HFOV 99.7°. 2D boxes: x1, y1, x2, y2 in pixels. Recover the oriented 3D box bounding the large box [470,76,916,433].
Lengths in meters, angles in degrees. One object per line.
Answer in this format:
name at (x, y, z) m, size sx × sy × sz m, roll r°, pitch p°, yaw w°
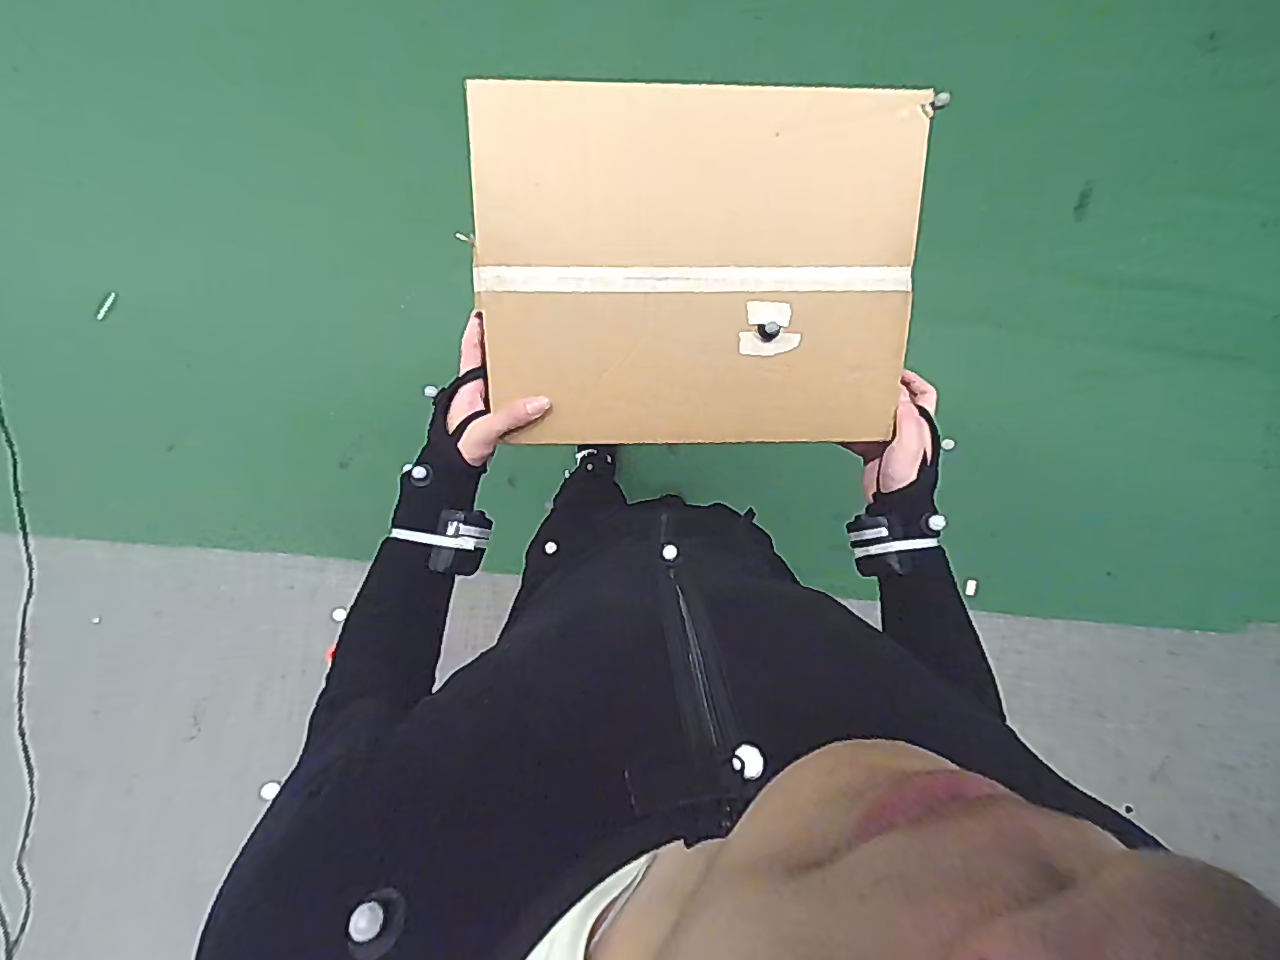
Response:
large box at (0.043, -0.240, 0.654) m, size 0.408 × 0.320 × 0.320 m, roll -1°, pitch 106°, yaw -3°
